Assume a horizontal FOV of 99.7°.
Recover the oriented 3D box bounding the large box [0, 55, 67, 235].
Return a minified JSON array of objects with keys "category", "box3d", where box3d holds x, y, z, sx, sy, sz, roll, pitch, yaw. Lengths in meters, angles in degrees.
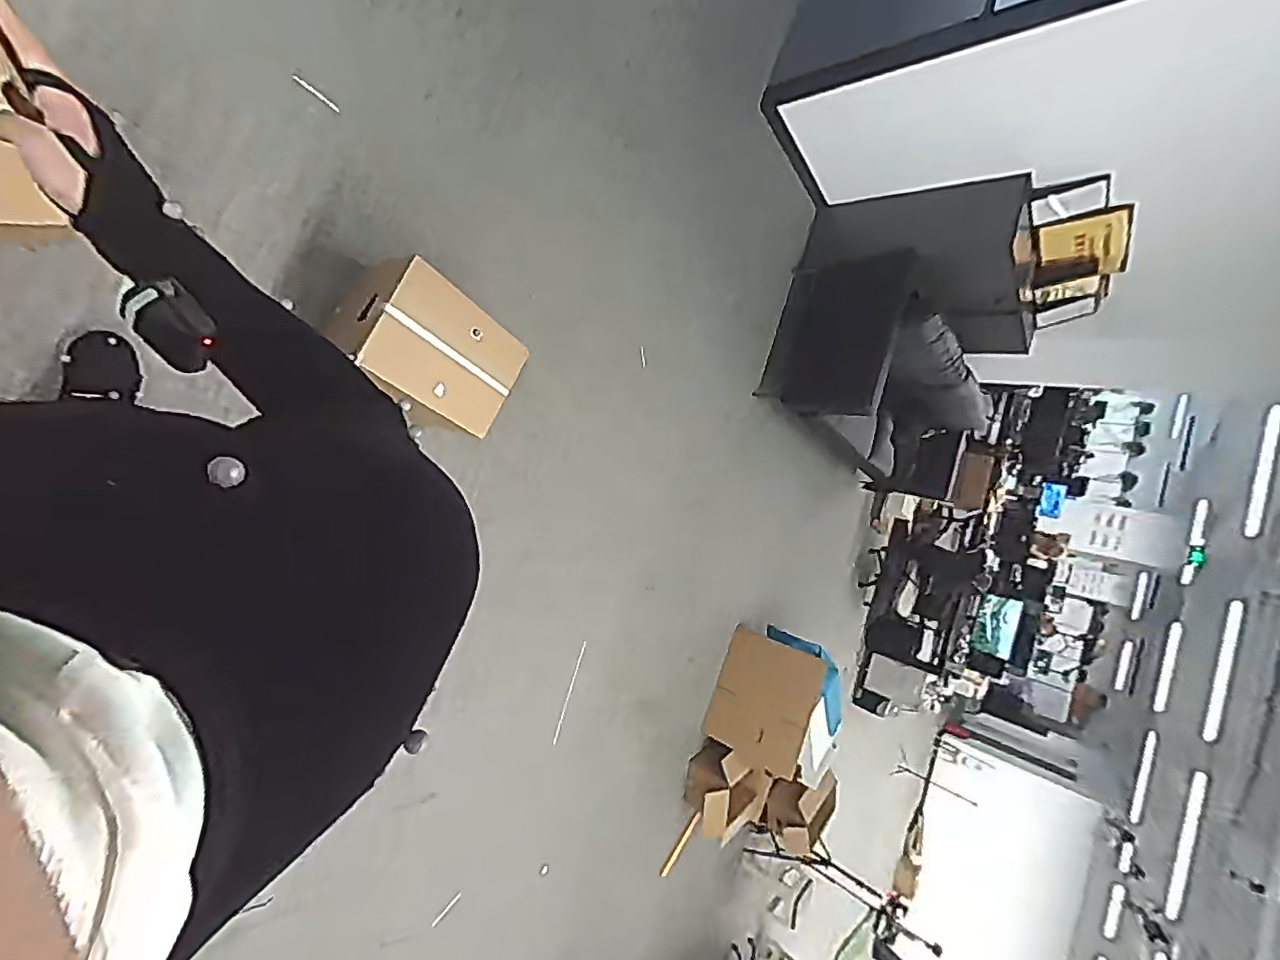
[{"category":"large box","box3d":[-1.203,-0.544,0.808,0.408,0.320,0.320,-24,117,-42]}]
